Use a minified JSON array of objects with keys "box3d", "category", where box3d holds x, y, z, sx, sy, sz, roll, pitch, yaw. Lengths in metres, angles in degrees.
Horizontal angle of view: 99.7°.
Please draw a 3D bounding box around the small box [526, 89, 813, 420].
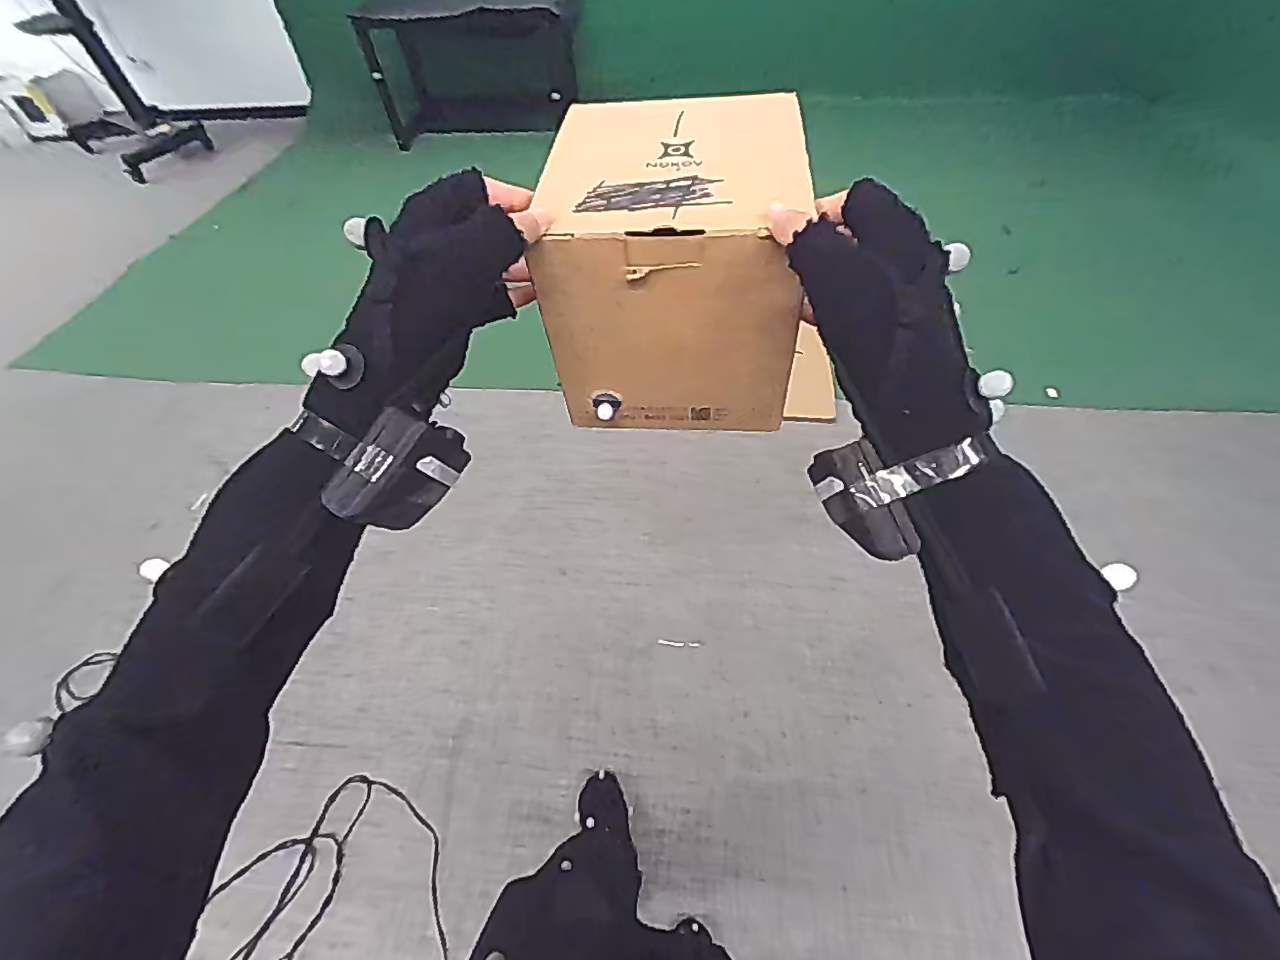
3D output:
[{"box3d":[0.030,-0.161,0.411,0.168,0.176,0.179,2,55,7],"category":"small box"}]
